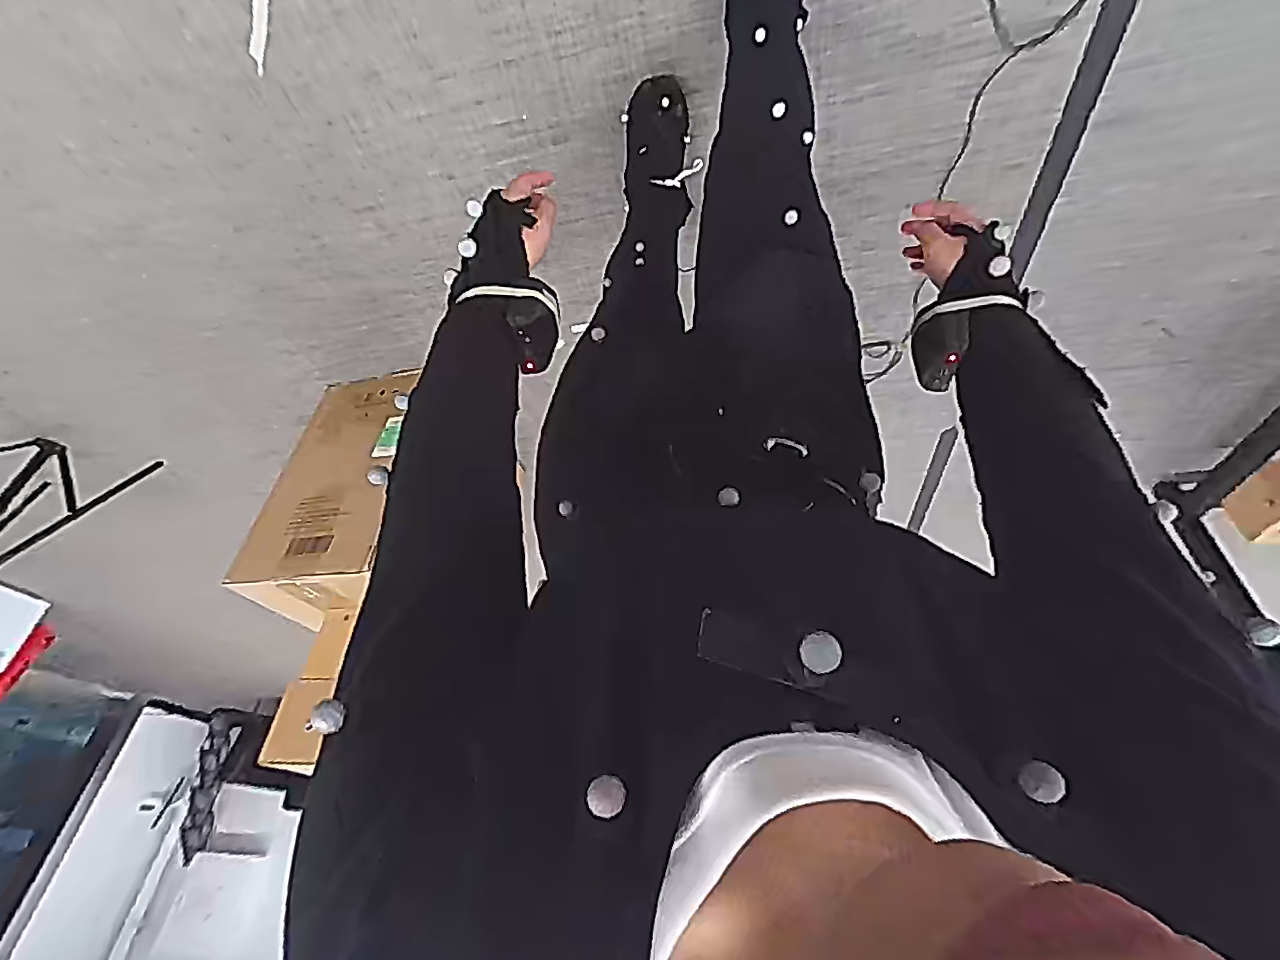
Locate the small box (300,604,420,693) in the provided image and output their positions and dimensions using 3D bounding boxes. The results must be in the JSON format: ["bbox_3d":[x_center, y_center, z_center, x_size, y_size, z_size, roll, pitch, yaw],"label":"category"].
[{"bbox_3d":[-0.659,0.405,1.298,0.168,0.176,0.179,-4,145,10],"label":"small box"}]

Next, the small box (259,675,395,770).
[{"bbox_3d":[-0.682,0.538,1.202,0.179,0.176,0.168,-4,145,9],"label":"small box"}]
